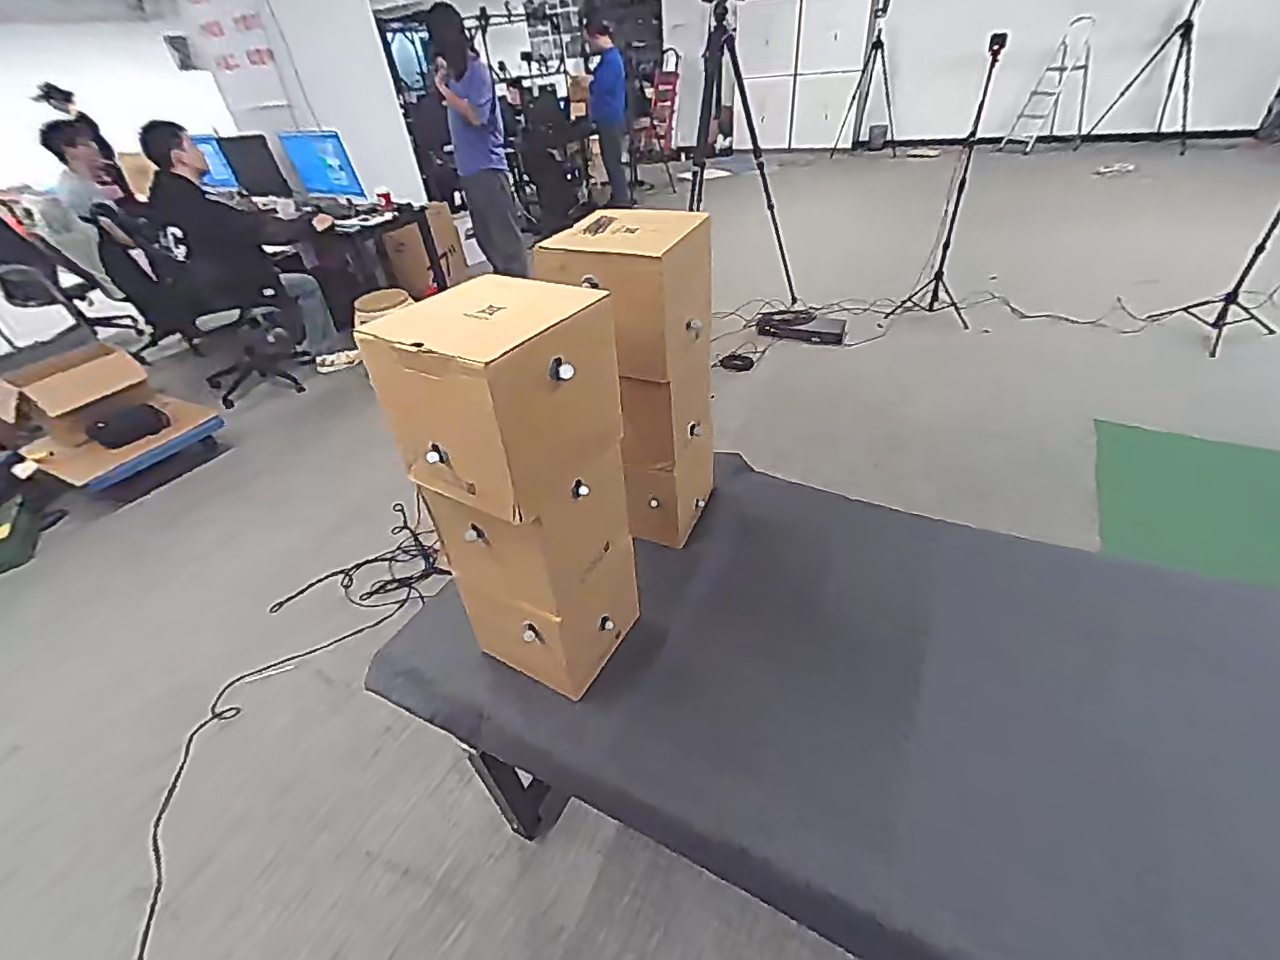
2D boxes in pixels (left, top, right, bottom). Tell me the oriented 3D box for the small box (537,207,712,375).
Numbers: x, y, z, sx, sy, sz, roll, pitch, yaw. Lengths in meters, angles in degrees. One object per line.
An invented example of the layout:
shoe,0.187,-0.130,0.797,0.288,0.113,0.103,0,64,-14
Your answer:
small box,-0.011,-0.261,0.742,0.179,0.176,0.168,15,45,23

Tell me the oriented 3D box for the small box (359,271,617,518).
small box,-0.134,-0.093,0.547,0.168,0.176,0.179,18,43,26

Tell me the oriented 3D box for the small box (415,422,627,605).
small box,-0.131,0.025,0.661,0.179,0.176,0.168,14,41,23

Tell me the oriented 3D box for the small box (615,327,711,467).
small box,0.005,-0.142,0.855,0.179,0.176,0.168,13,45,21

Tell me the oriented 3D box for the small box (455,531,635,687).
small box,-0.119,0.157,0.757,0.179,0.176,0.168,17,42,26
